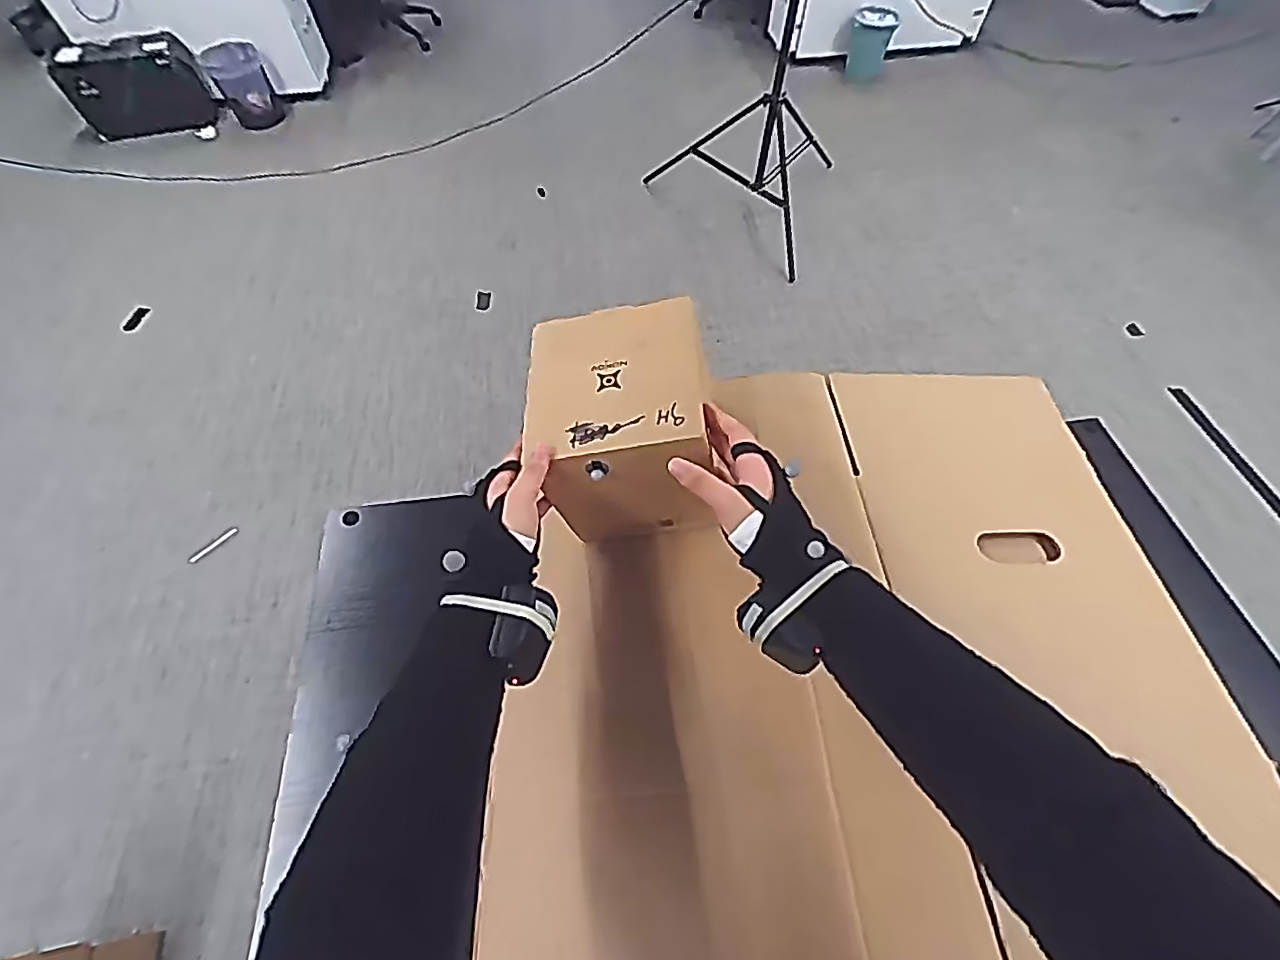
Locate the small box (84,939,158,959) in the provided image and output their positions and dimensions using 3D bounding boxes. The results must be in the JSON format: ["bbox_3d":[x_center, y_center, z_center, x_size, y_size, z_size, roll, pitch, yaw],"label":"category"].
[{"bbox_3d":[-1.030,0.963,0.976,0.168,0.176,0.179,-11,59,-6],"label":"small box"}]

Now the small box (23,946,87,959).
[{"bbox_3d":[-1.033,0.872,0.842,0.168,0.176,0.179,-13,58,-9],"label":"small box"}]

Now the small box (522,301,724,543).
[{"bbox_3d":[-0.008,-0.054,0.570,0.168,0.176,0.179,-9,57,11],"label":"small box"}]
